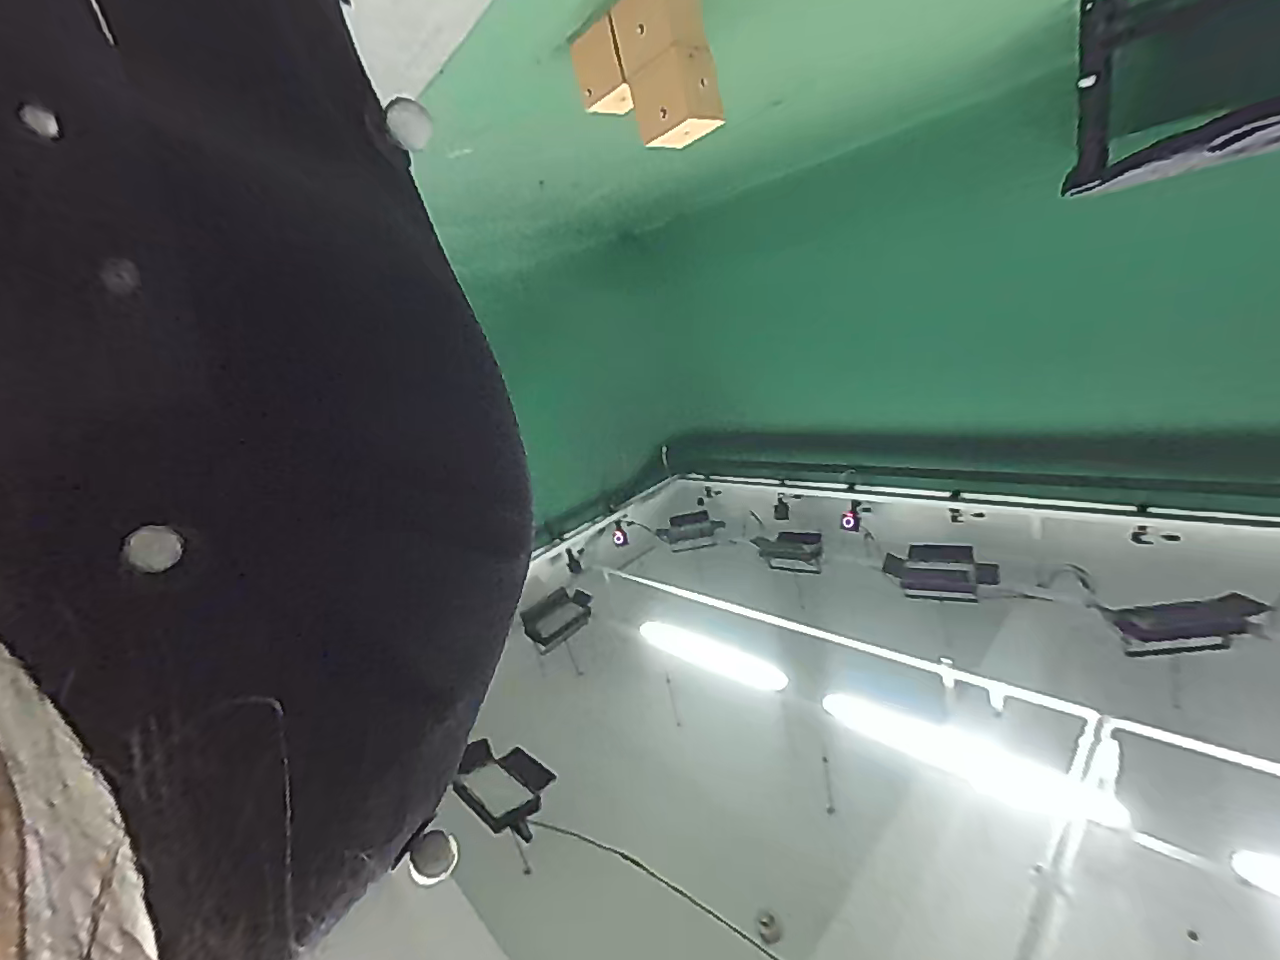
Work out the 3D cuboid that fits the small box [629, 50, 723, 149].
[{"bbox_3d":[0.094,-1.026,1.467,0.179,0.176,0.168,2,-157,46],"label":"small box"}]
